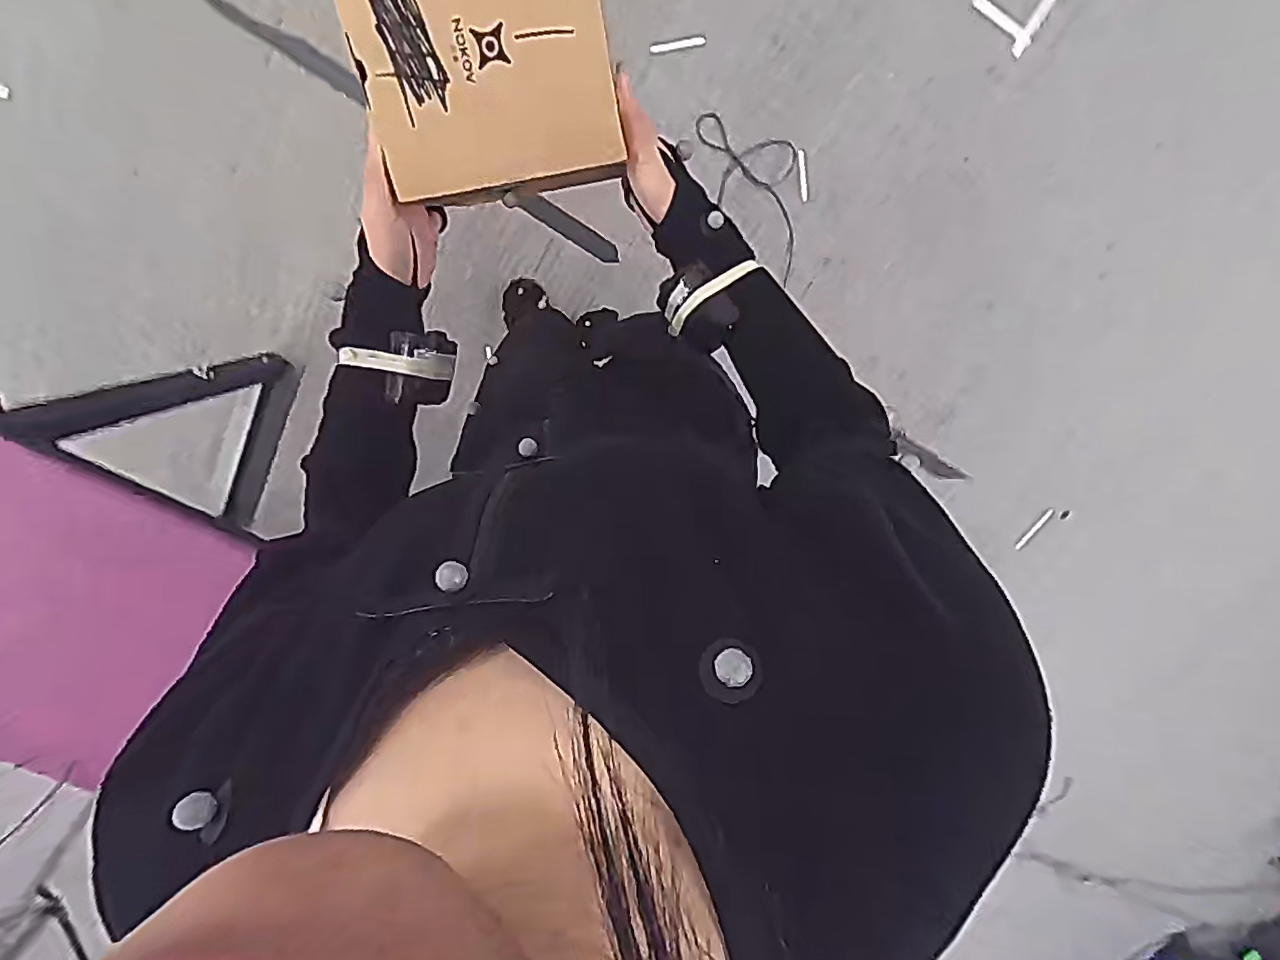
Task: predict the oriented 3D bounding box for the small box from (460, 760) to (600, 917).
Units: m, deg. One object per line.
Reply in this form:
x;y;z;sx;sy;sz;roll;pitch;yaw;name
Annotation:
-0.175;0.612;0.905;0.168;0.176;0.179;25;109;-10;small box

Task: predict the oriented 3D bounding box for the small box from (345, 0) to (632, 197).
-0.103;-0.332;0.437;0.179;0.176;0.168;-7;117;3;small box
